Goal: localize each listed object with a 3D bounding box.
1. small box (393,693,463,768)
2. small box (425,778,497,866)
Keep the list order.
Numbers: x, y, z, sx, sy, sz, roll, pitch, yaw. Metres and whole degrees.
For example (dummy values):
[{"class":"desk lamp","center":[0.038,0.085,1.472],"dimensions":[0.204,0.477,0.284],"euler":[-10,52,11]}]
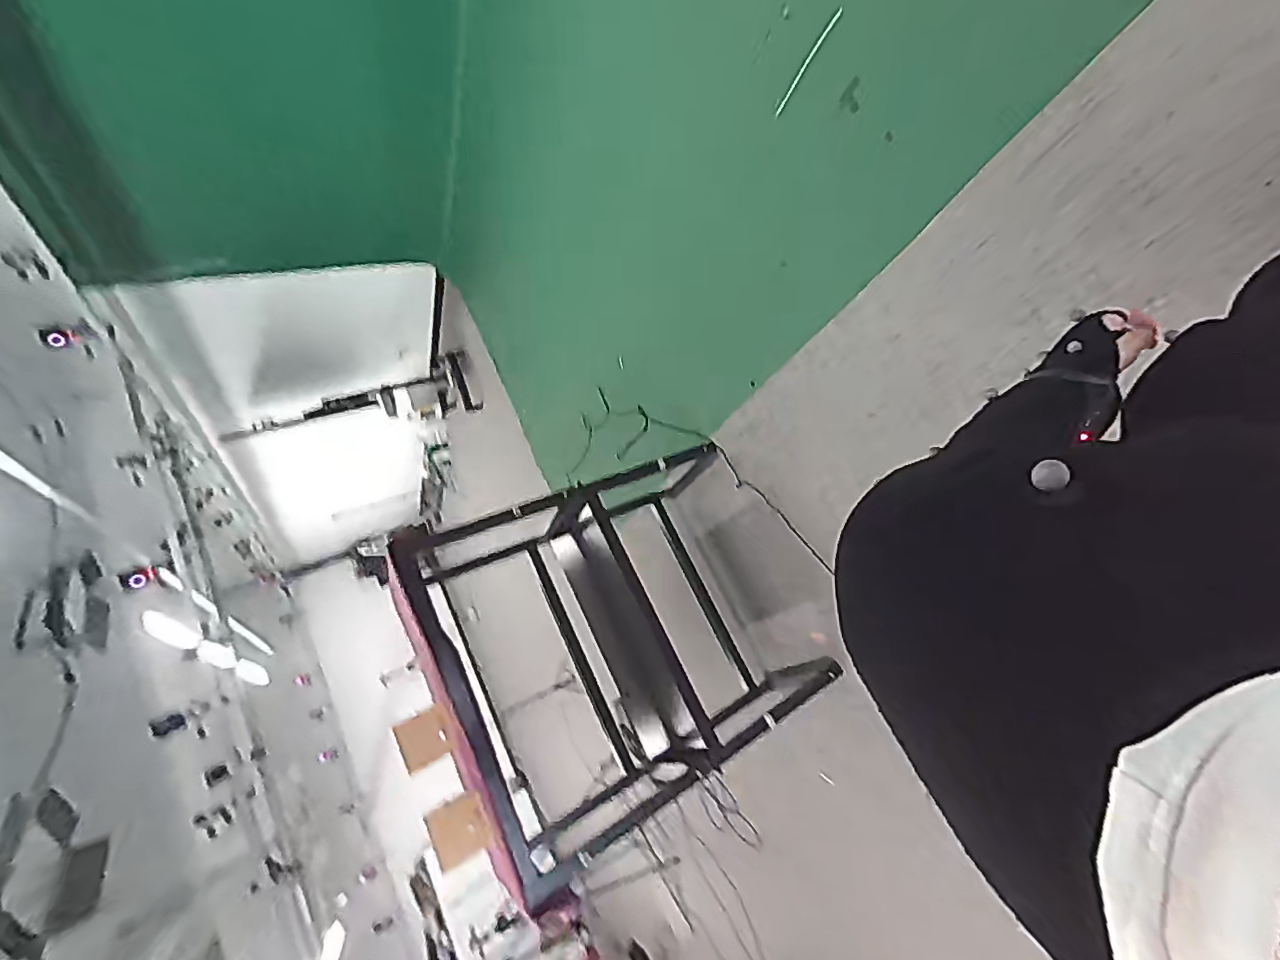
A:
[{"class":"small box","center":[-0.698,0.818,1.782],"dimensions":[0.168,0.176,0.179],"euler":[63,150,11]},{"class":"small box","center":[-0.563,1.061,1.696],"dimensions":[0.168,0.176,0.179],"euler":[62,149,14]}]
